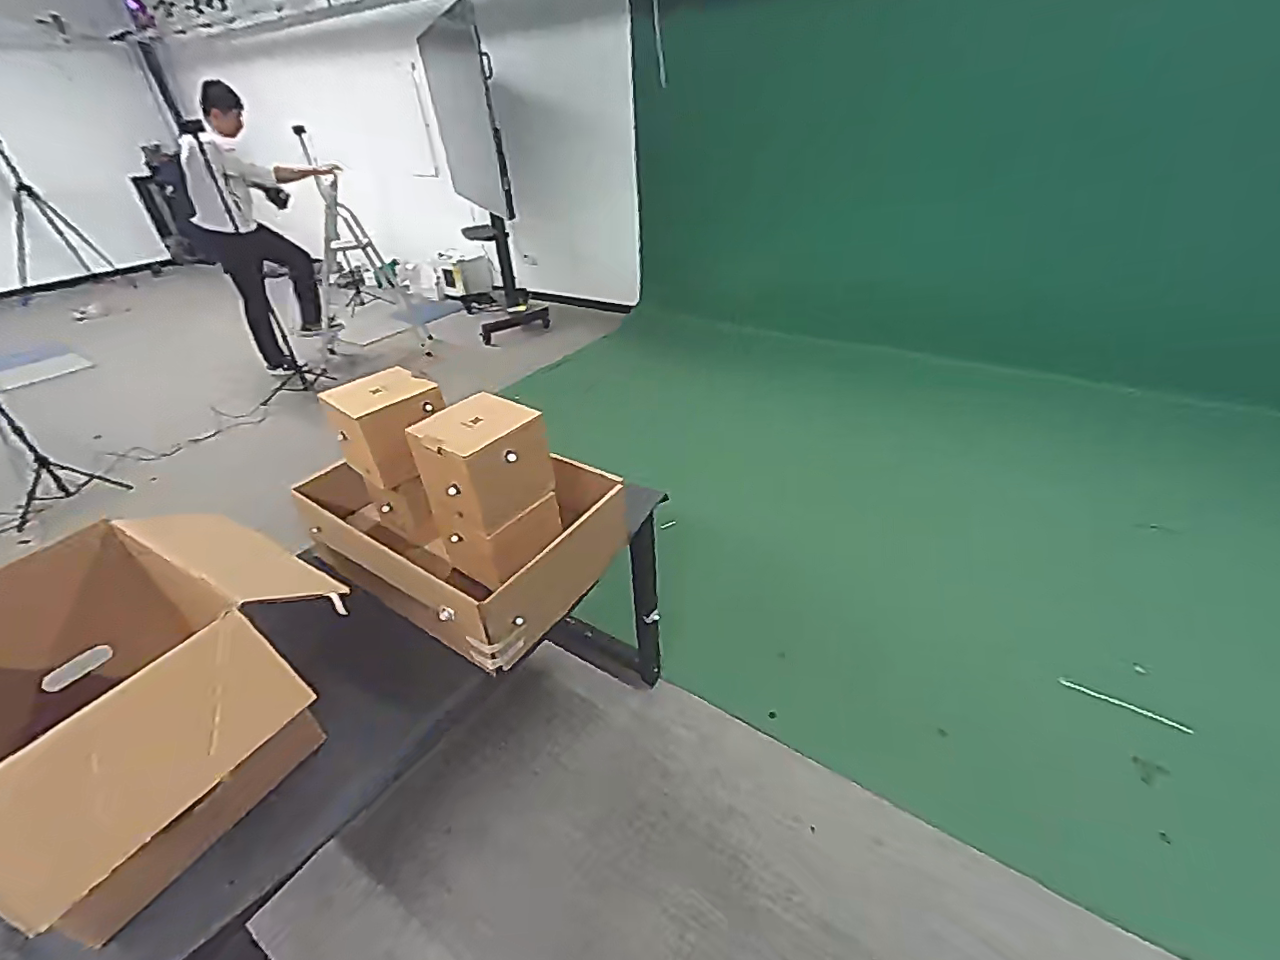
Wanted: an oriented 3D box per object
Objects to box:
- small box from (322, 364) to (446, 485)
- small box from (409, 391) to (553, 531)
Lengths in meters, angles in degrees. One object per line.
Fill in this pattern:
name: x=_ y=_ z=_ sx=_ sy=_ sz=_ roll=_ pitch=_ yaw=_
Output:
small box: x=-0.503 y=-0.115 z=1.108 sx=0.168 sy=0.176 sz=0.179 roll=26 pitch=44 yaw=33
small box: x=-0.277 y=-0.036 z=0.981 sx=0.168 sy=0.176 sz=0.179 roll=23 pitch=43 yaw=30
